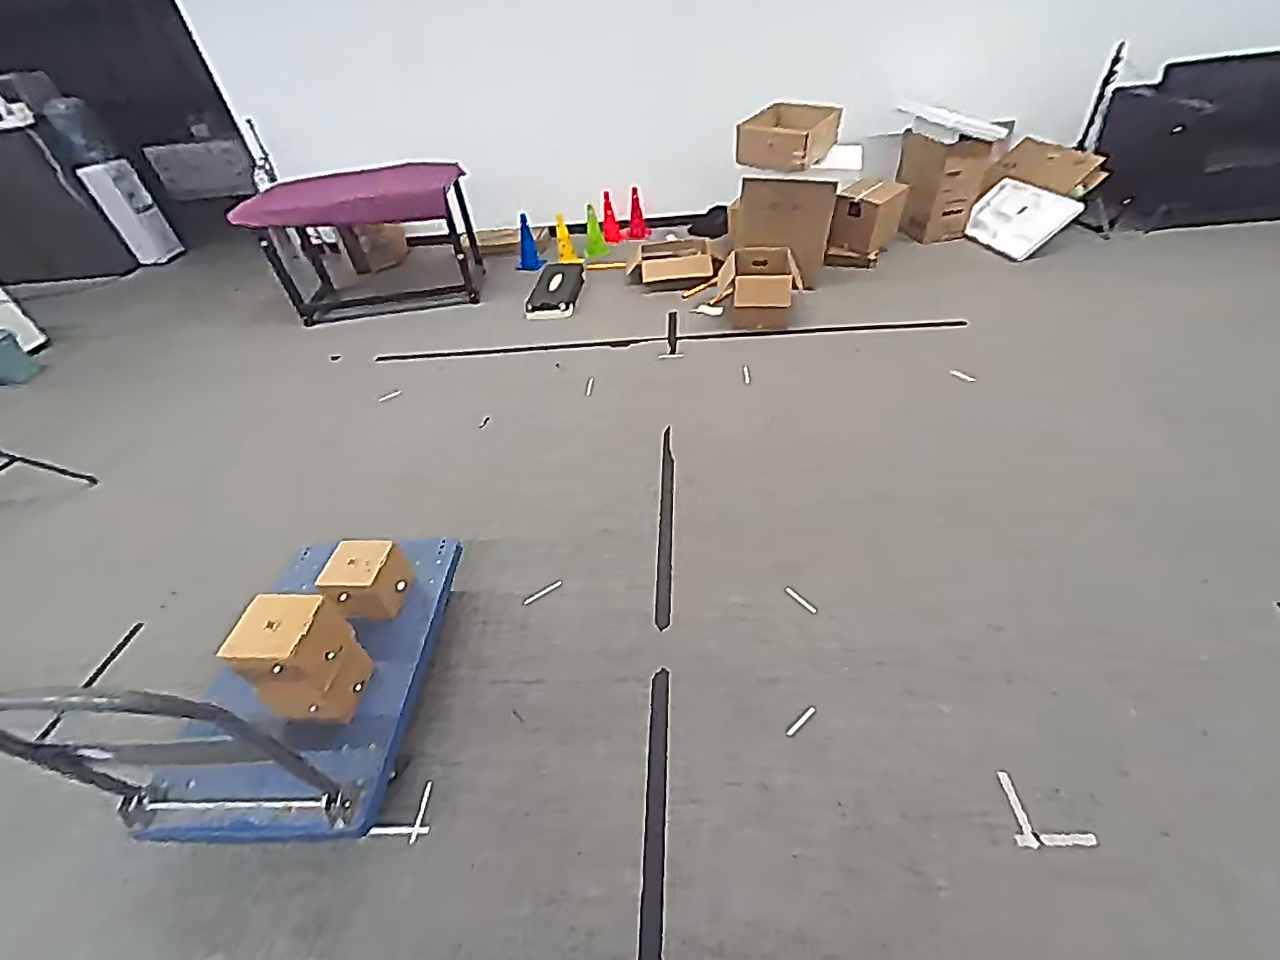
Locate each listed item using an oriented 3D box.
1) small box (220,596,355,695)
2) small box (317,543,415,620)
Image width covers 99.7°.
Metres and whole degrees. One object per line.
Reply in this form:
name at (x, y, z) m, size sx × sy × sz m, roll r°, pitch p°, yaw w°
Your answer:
small box at (-0.820, 0.393, 1.278) m, size 0.179 × 0.176 × 0.168 m, roll -1°, pitch 42°, yaw 4°
small box at (-0.809, 0.304, 1.615) m, size 0.179 × 0.176 × 0.168 m, roll 0°, pitch 43°, yaw 7°
